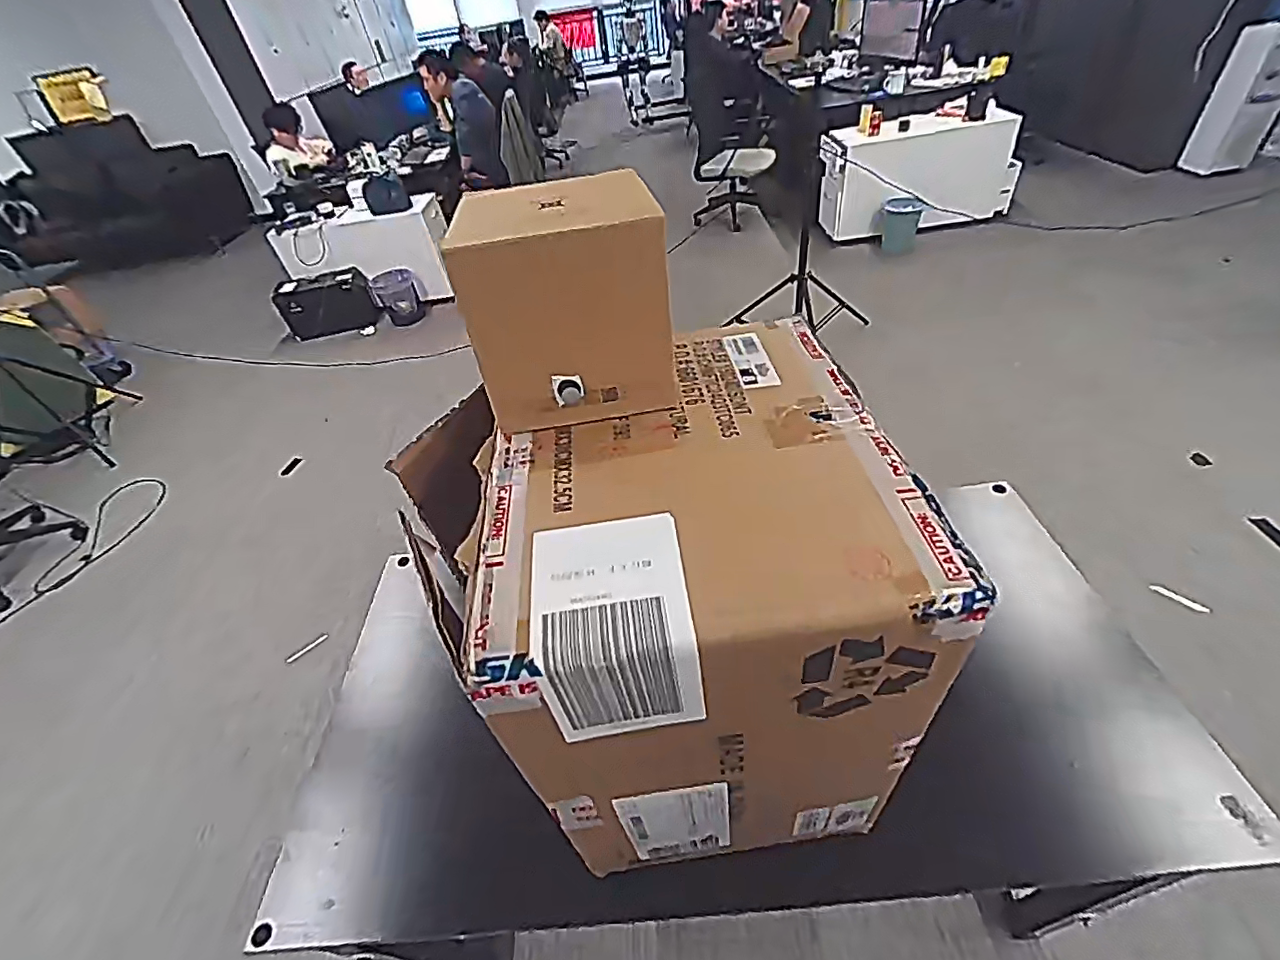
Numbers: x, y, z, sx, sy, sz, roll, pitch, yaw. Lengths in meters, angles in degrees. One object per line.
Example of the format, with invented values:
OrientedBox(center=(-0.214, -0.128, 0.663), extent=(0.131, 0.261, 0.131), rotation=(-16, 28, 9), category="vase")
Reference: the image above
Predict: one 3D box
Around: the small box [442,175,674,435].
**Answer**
OrientedBox(center=(-0.067, -0.166, 0.508), extent=(0.168, 0.176, 0.179), rotation=(-11, 41, -2), category="small box")
